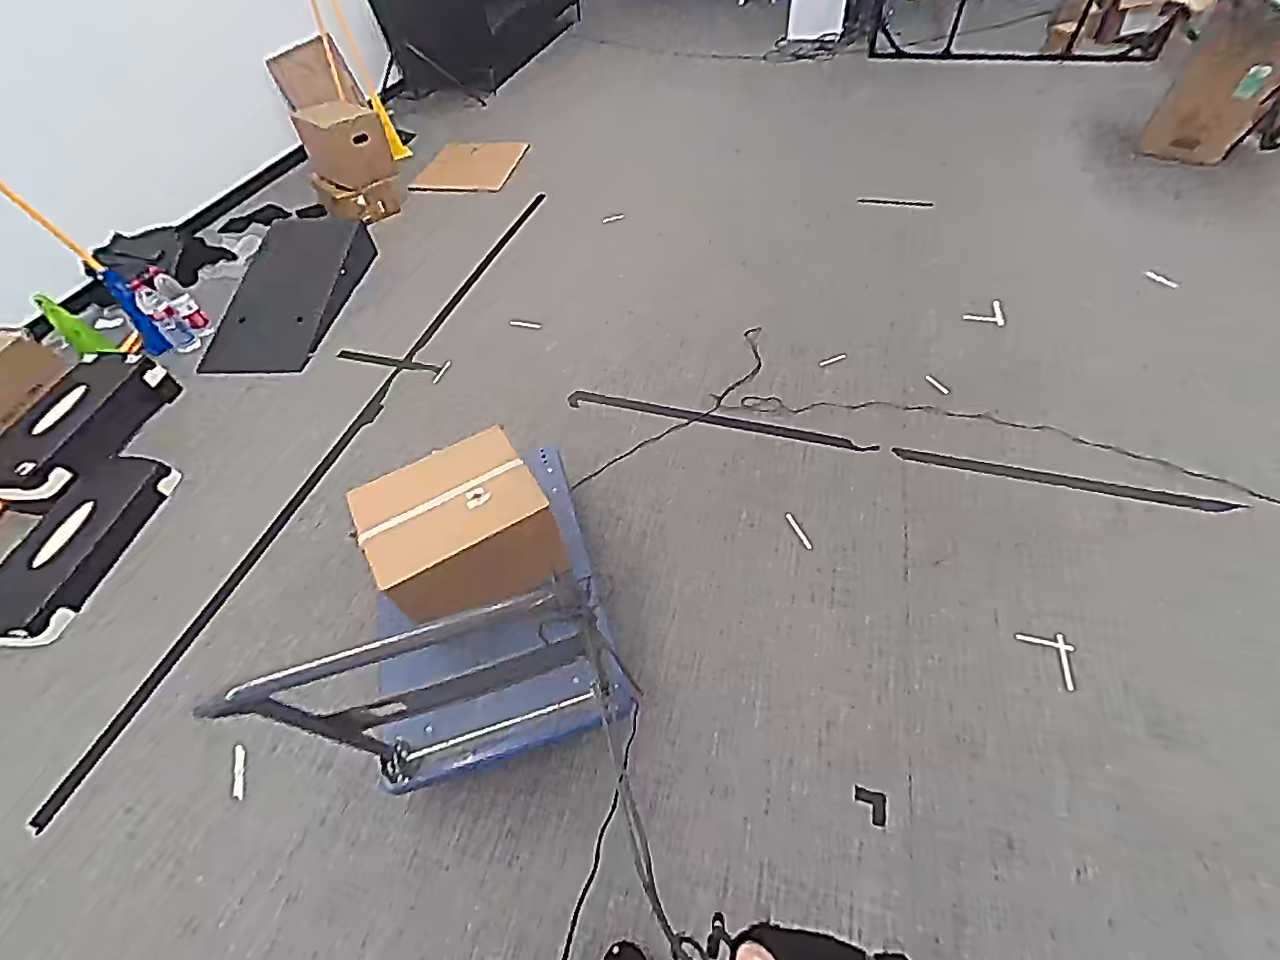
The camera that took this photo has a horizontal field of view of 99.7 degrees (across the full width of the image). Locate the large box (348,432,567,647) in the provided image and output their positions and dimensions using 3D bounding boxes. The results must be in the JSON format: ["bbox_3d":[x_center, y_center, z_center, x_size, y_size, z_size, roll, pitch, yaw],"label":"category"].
[{"bbox_3d":[-0.450,0.152,1.389,0.408,0.320,0.320,-28,56,-17],"label":"large box"}]
